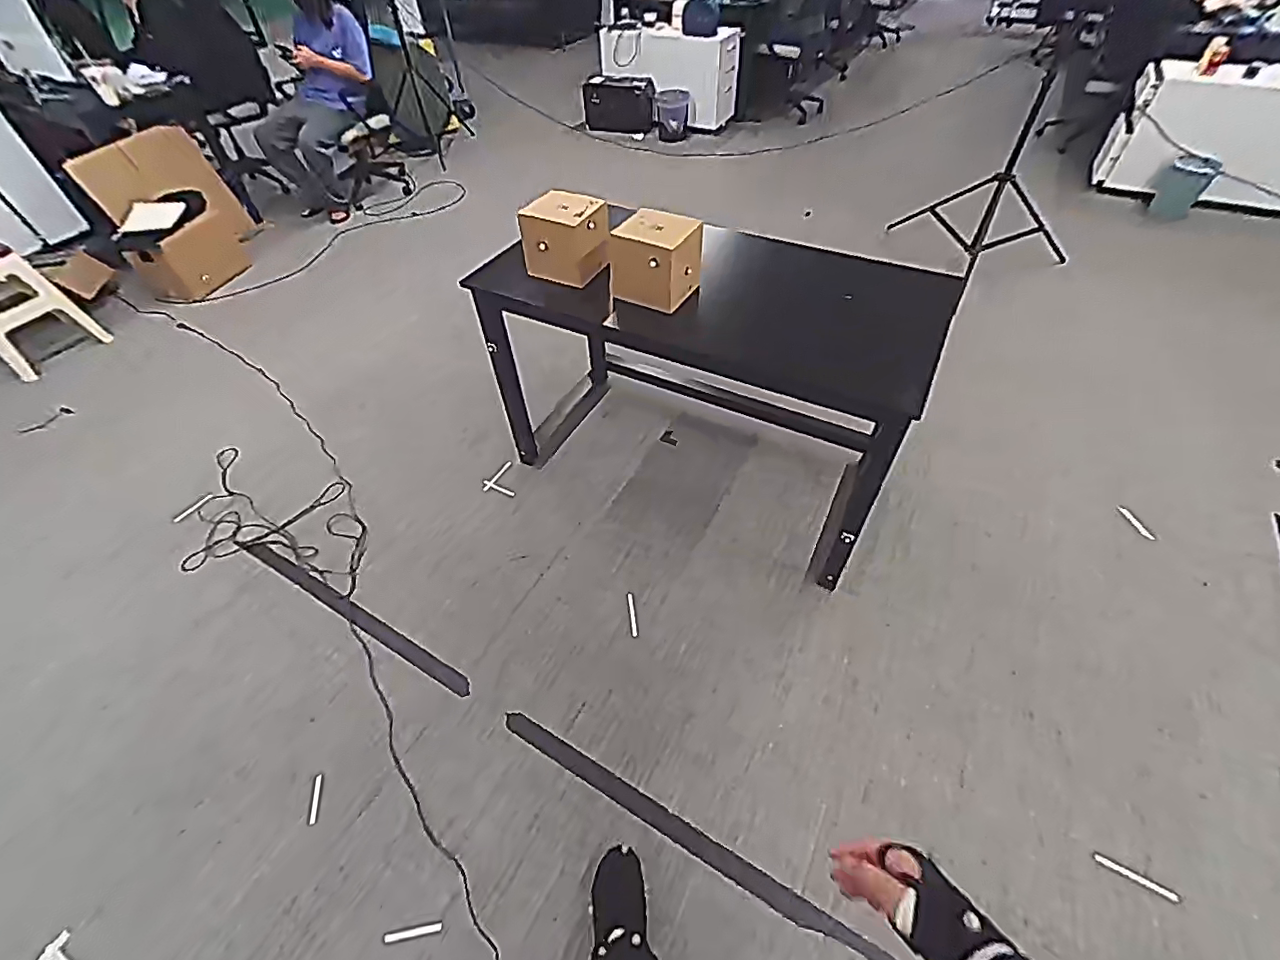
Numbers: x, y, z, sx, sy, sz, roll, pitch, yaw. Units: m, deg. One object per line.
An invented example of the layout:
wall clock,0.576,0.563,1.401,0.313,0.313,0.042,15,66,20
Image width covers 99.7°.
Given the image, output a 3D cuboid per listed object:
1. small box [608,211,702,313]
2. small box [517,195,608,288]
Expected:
small box,0.038,-0.544,1.357,0.179,0.176,0.168,23,53,20
small box,-0.200,-0.638,1.451,0.179,0.176,0.168,20,53,19
